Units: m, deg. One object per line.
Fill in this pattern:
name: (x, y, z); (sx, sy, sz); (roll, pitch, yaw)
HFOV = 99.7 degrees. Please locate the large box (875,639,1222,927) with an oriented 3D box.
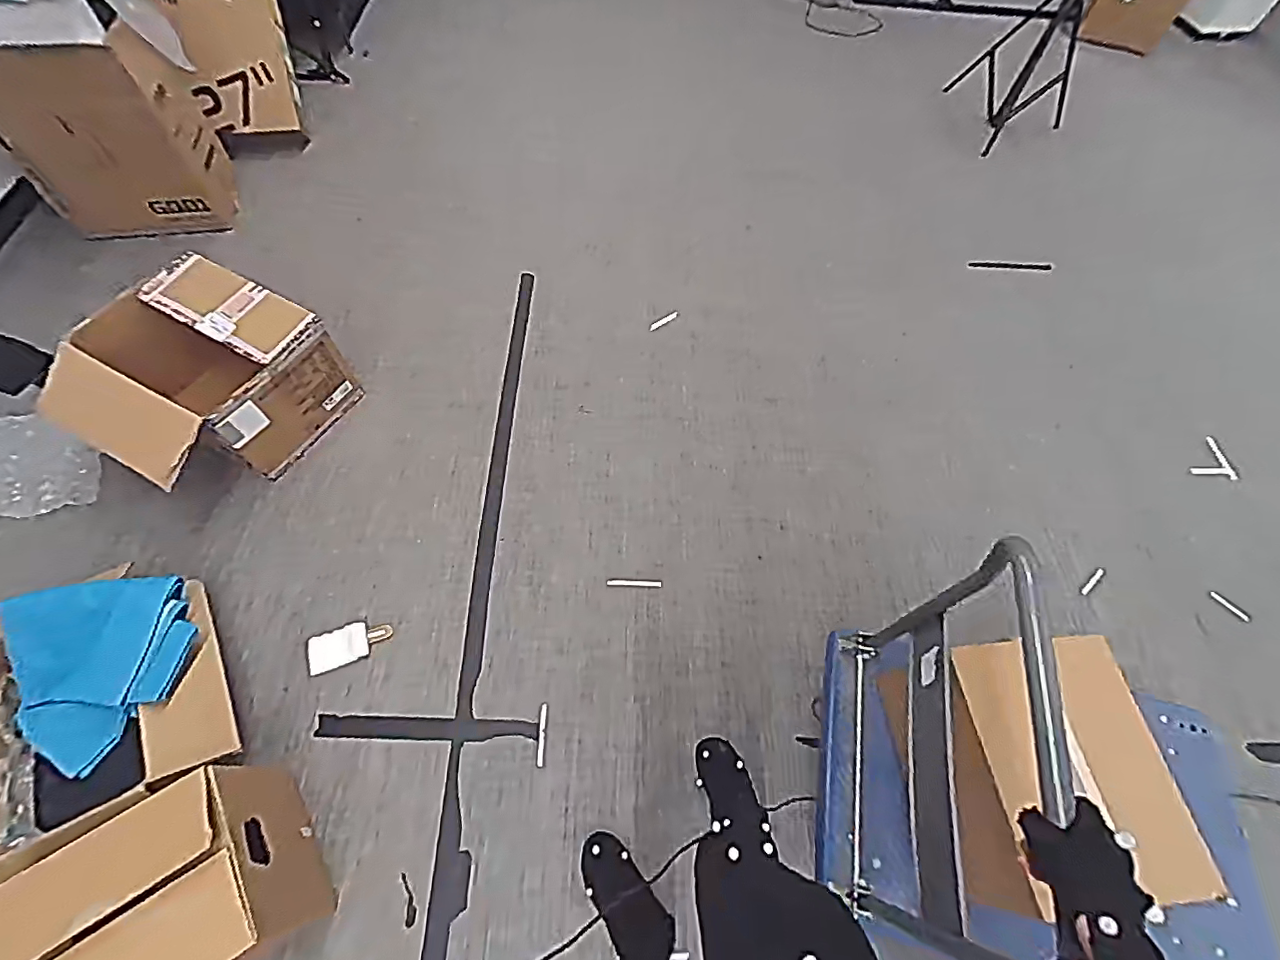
large box: (0.716, 0.552, 1.039); (0.320, 0.320, 0.408); (-3, 61, -5)
